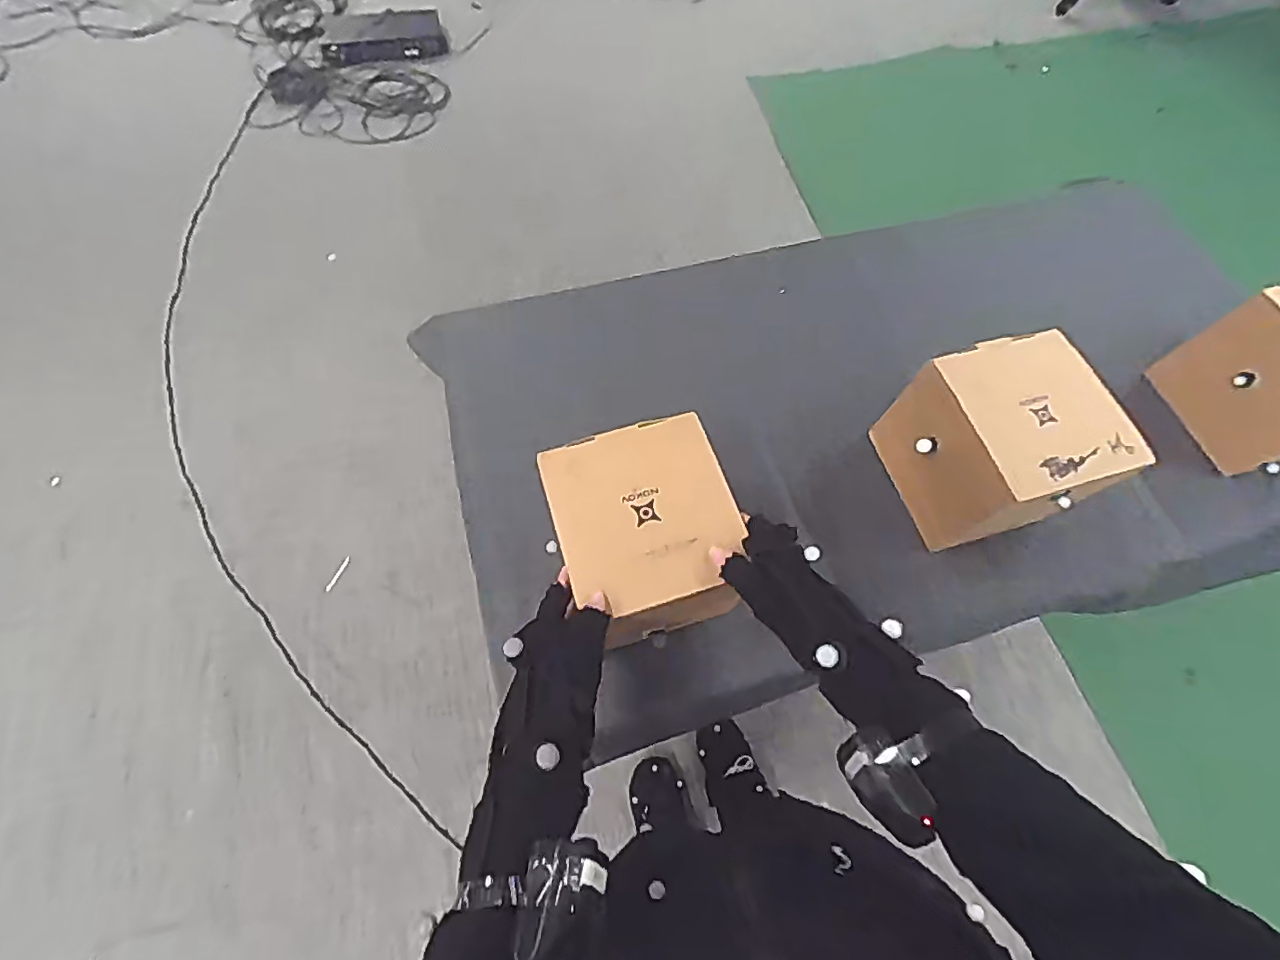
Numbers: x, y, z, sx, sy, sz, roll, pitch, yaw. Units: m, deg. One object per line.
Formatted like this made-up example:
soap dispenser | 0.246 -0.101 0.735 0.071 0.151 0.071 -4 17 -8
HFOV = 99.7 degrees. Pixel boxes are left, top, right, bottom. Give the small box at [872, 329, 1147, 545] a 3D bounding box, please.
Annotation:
small box | 0.410 -0.044 0.640 0.168 0.176 0.179 -15 67 -7

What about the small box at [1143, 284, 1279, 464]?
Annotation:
small box | 0.825 -0.135 0.689 0.168 0.176 0.179 -13 66 -7

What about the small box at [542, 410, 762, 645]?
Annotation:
small box | 0.004 0.057 0.571 0.168 0.176 0.179 -16 67 -9
